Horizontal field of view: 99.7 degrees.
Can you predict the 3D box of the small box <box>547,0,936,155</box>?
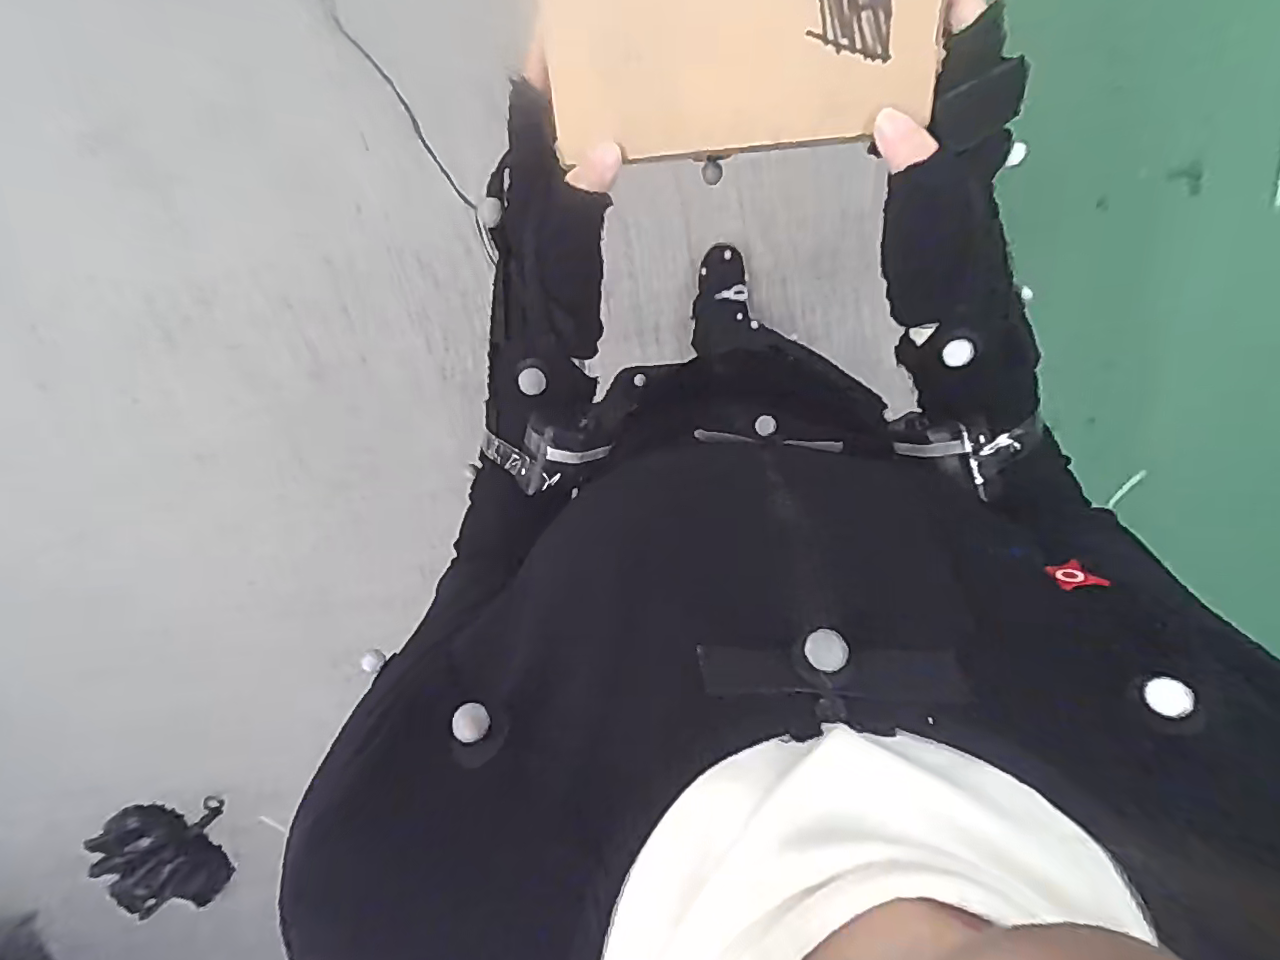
[{"bbox_3d":[0.045,-0.281,0.295,0.179,0.176,0.168,-3,119,5],"label":"small box"}]
